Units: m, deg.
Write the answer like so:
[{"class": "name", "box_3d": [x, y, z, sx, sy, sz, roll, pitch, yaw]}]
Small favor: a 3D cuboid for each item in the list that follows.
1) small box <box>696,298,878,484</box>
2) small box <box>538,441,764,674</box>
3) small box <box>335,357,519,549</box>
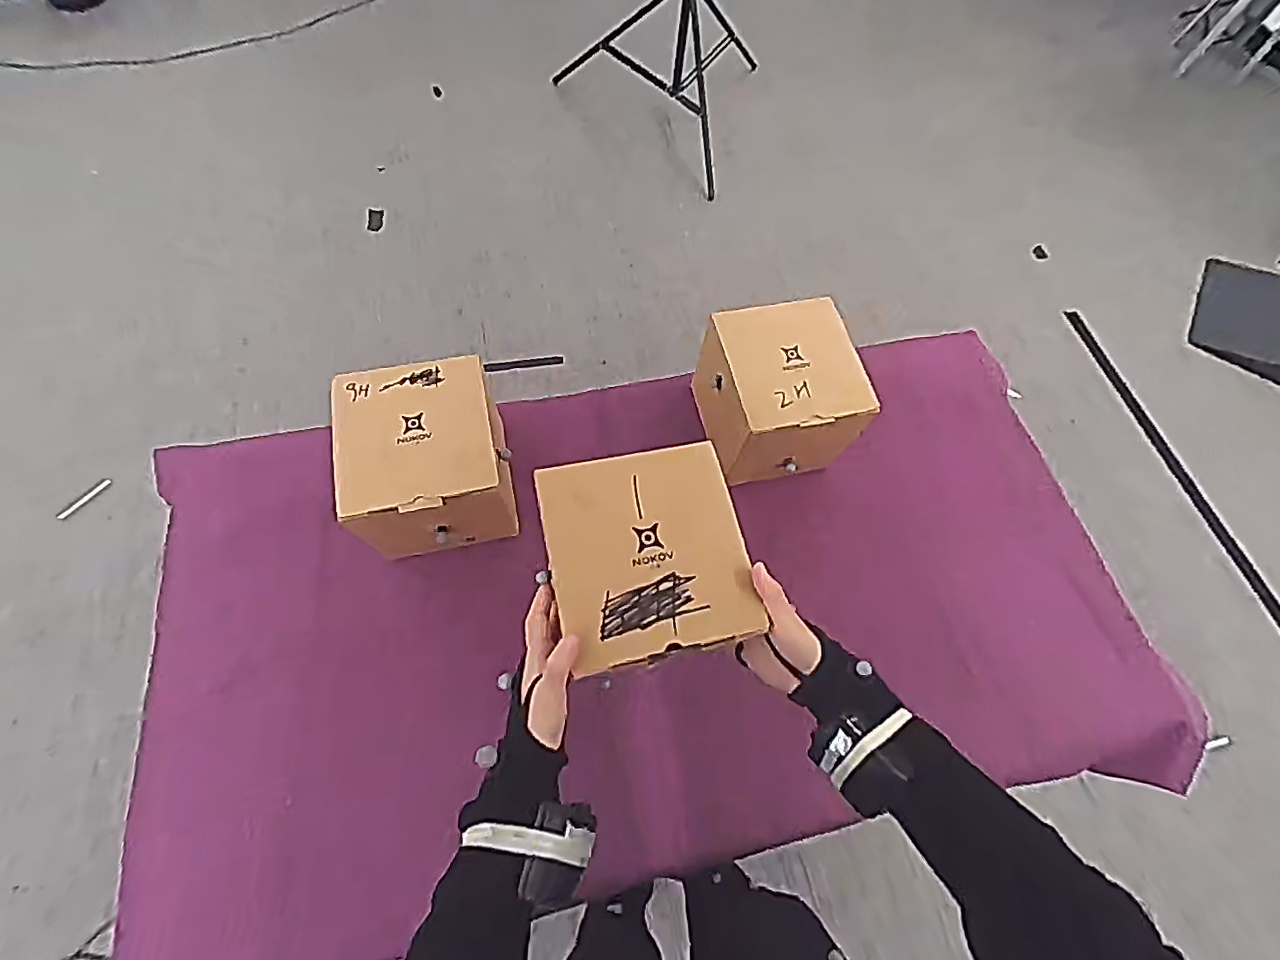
[{"class": "small box", "box_3d": [0.182, -0.115, 0.734, 0.168, 0.176, 0.179, -11, 68, -7]}, {"class": "small box", "box_3d": [-0.001, 0.085, 0.532, 0.168, 0.176, 0.179, -10, 69, -11]}, {"class": "small box", "box_3d": [-0.251, -0.022, 0.665, 0.168, 0.176, 0.179, -11, 69, -9]}]
